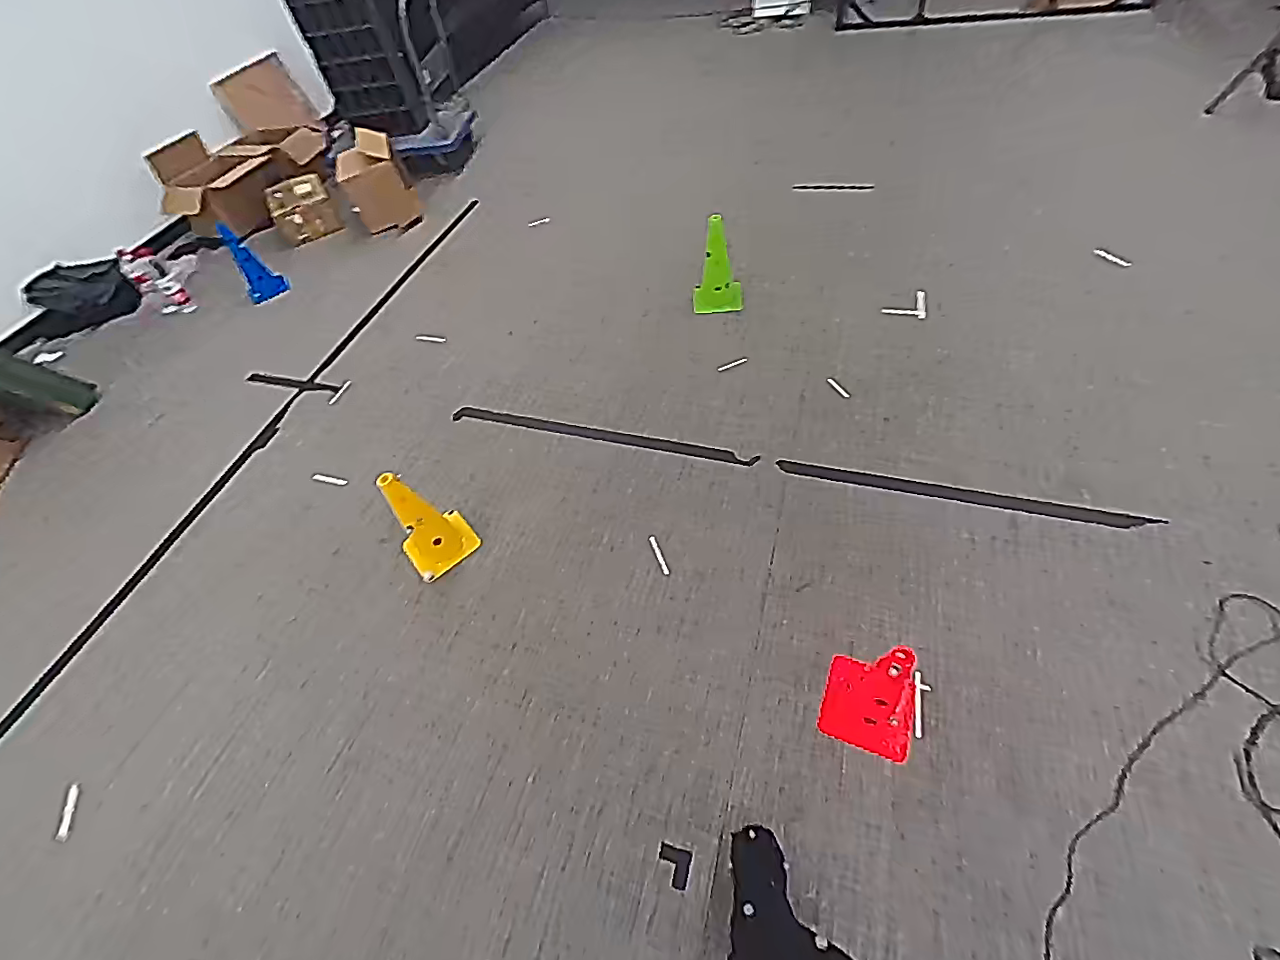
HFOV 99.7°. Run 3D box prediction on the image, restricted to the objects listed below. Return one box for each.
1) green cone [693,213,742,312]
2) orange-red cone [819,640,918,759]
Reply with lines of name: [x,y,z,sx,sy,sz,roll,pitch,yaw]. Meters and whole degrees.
green cone: [0.311,-0.890,2.187,0.202,0.368,0.200,-3,53,7]
orange-red cone: [0.516,0.426,1.148,0.199,0.360,0.198,16,57,22]
